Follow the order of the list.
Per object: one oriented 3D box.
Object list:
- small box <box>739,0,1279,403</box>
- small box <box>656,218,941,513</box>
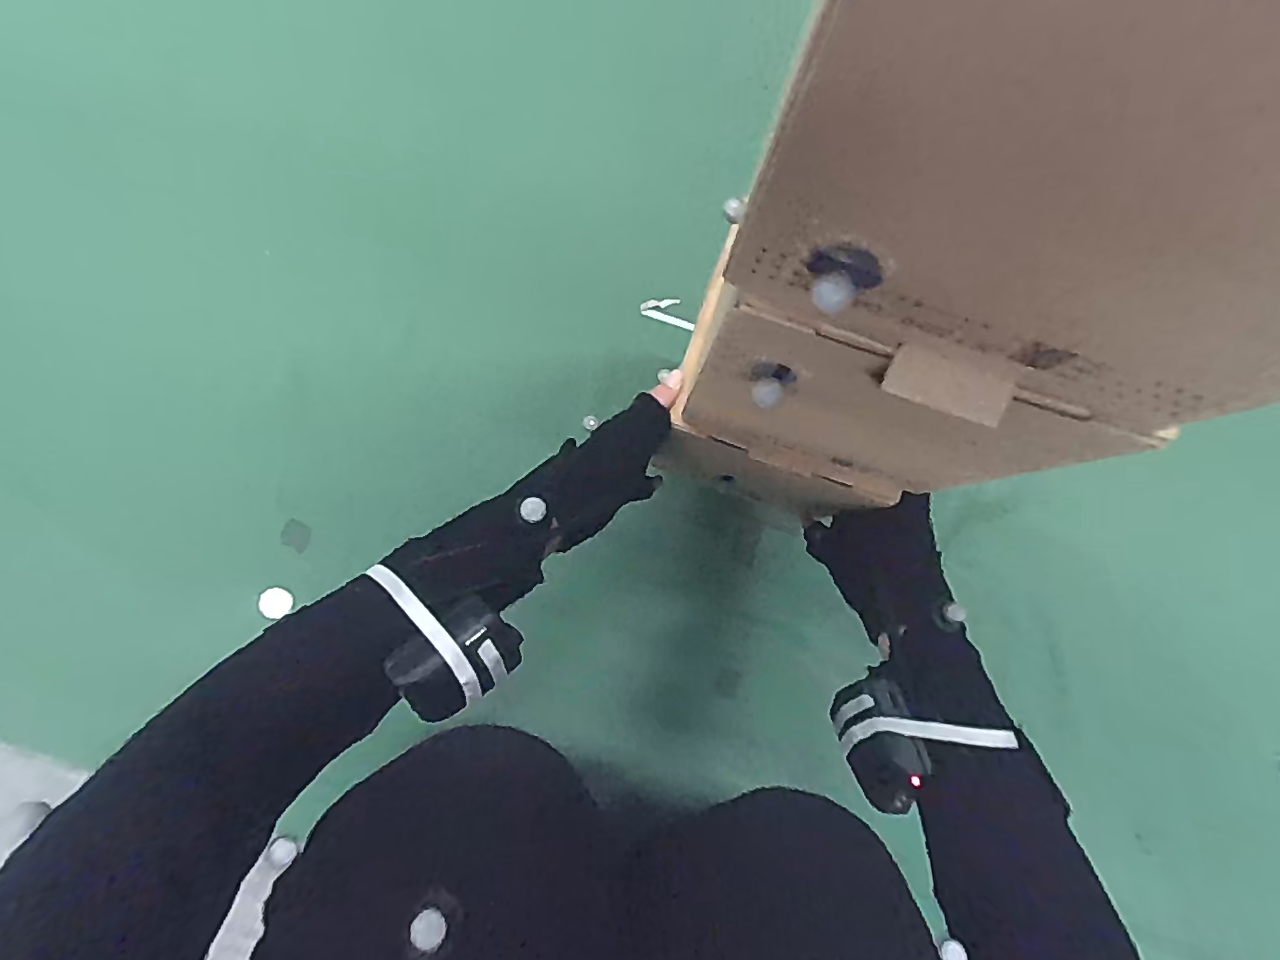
[{"bbox_3d":[0.134,-0.137,0.129,0.168,0.176,0.179,19,81,0],"label":"small box"},{"bbox_3d":[0.117,-0.082,0.454,0.168,0.176,0.179,20,83,0],"label":"small box"}]
